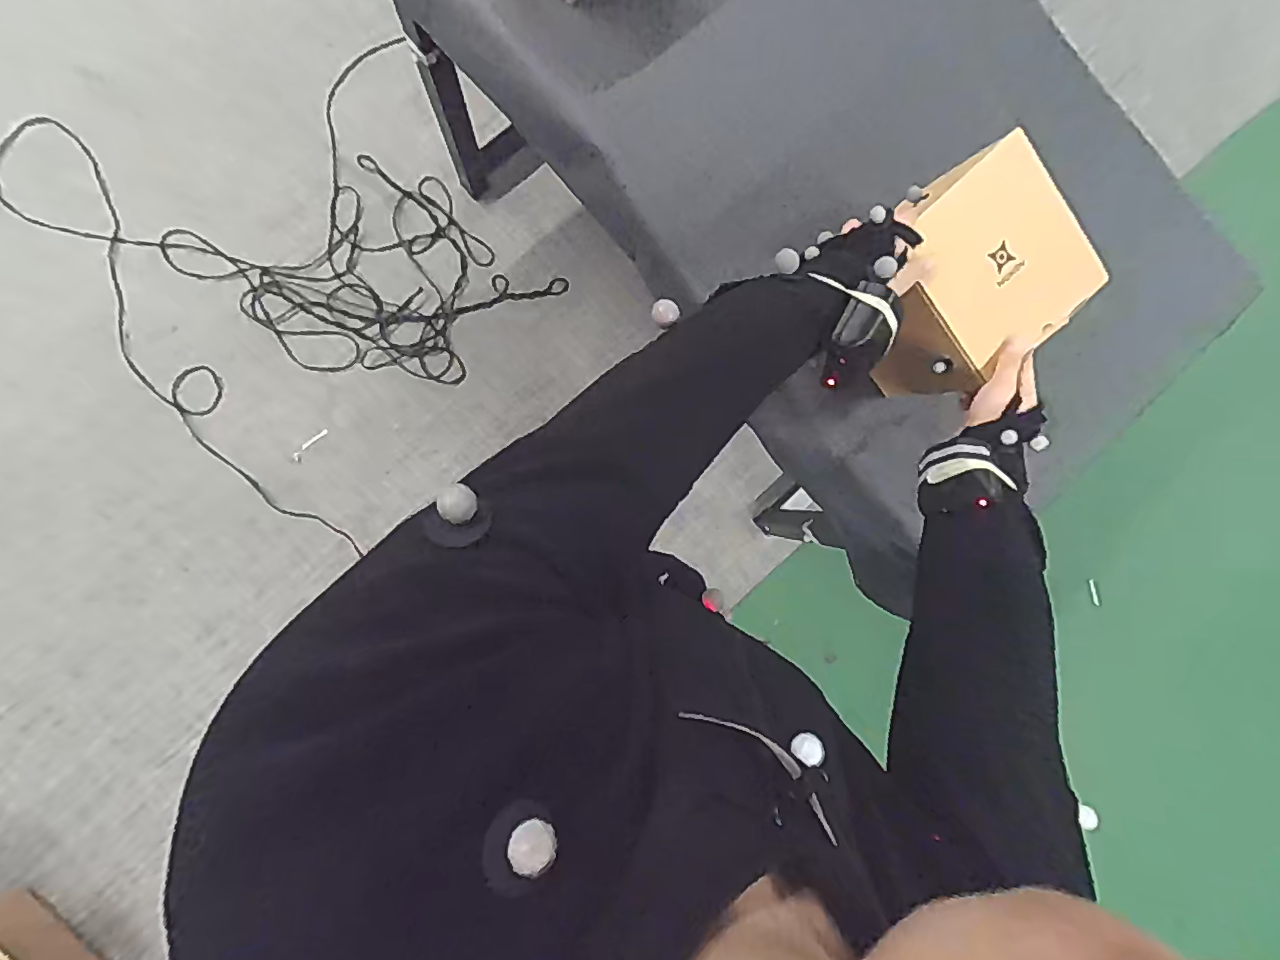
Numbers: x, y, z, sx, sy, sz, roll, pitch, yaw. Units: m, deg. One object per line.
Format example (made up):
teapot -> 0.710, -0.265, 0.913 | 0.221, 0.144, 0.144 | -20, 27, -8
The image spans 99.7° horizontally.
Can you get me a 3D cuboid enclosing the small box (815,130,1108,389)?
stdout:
small box -> 0.325, -0.213, 0.581 | 0.168, 0.176, 0.179 | -42, 101, -2
